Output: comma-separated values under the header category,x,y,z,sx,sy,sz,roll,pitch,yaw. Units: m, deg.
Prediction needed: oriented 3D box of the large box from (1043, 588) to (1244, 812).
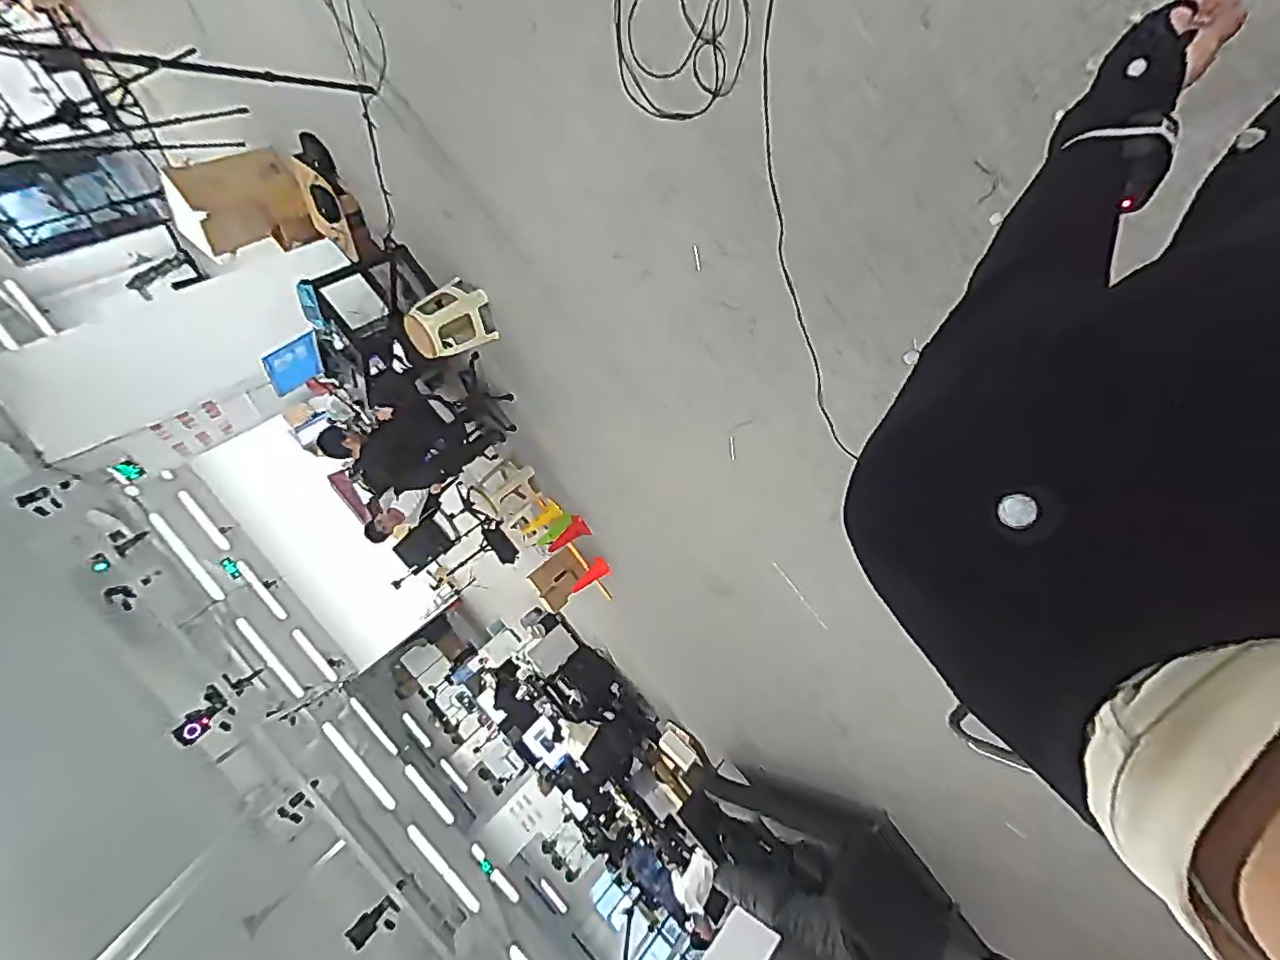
category,x,y,z,sx,sy,sz,roll,pitch,yaw
large box,1.327,0.547,1.419,0.320,0.320,0.408,2,126,55
